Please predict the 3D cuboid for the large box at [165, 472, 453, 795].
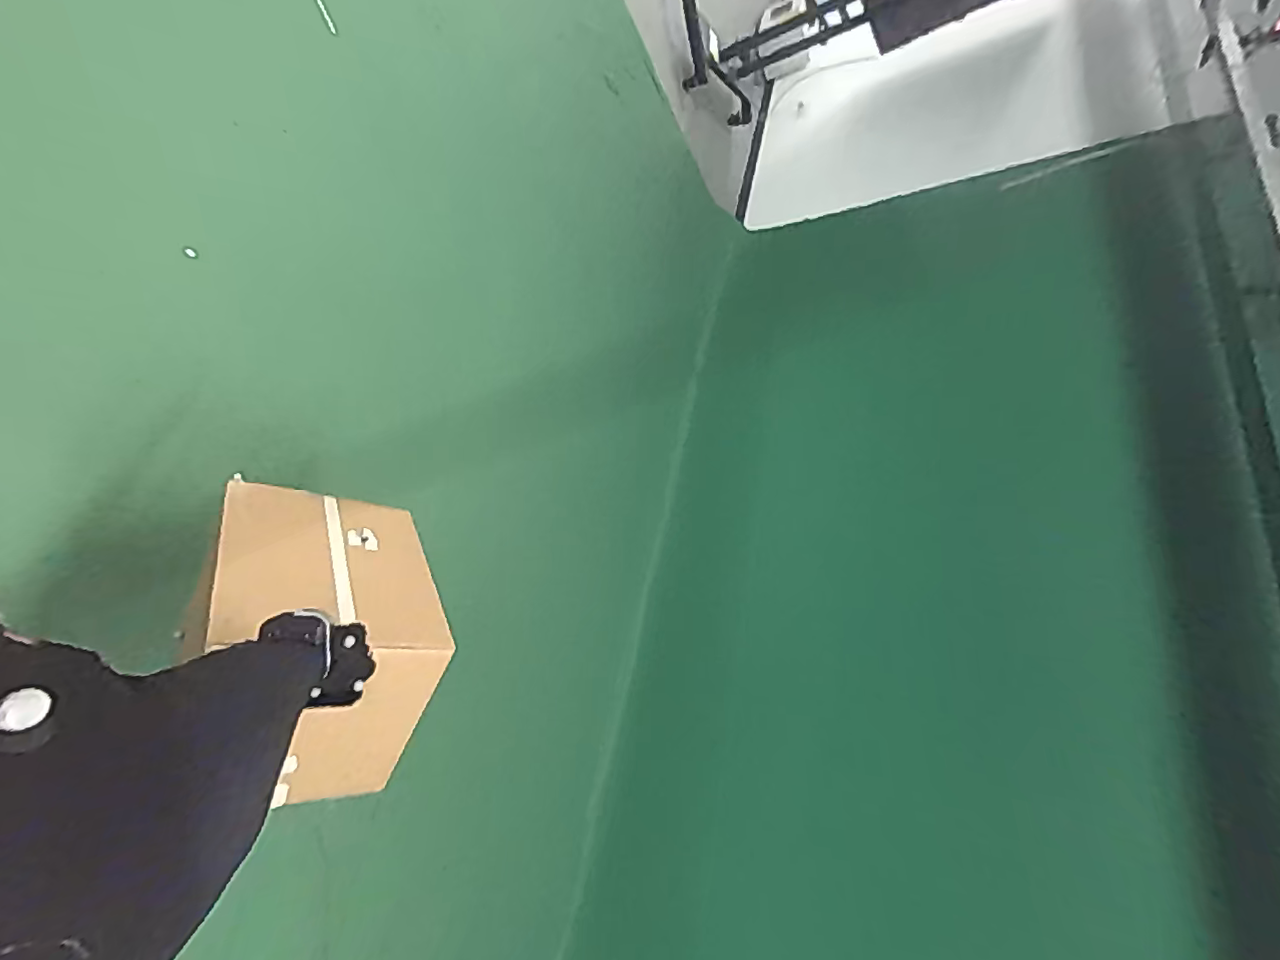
[{"bbox_3d":[-0.572,0.239,0.933,0.320,0.408,0.320,16,109,-40],"label":"large box"}]
